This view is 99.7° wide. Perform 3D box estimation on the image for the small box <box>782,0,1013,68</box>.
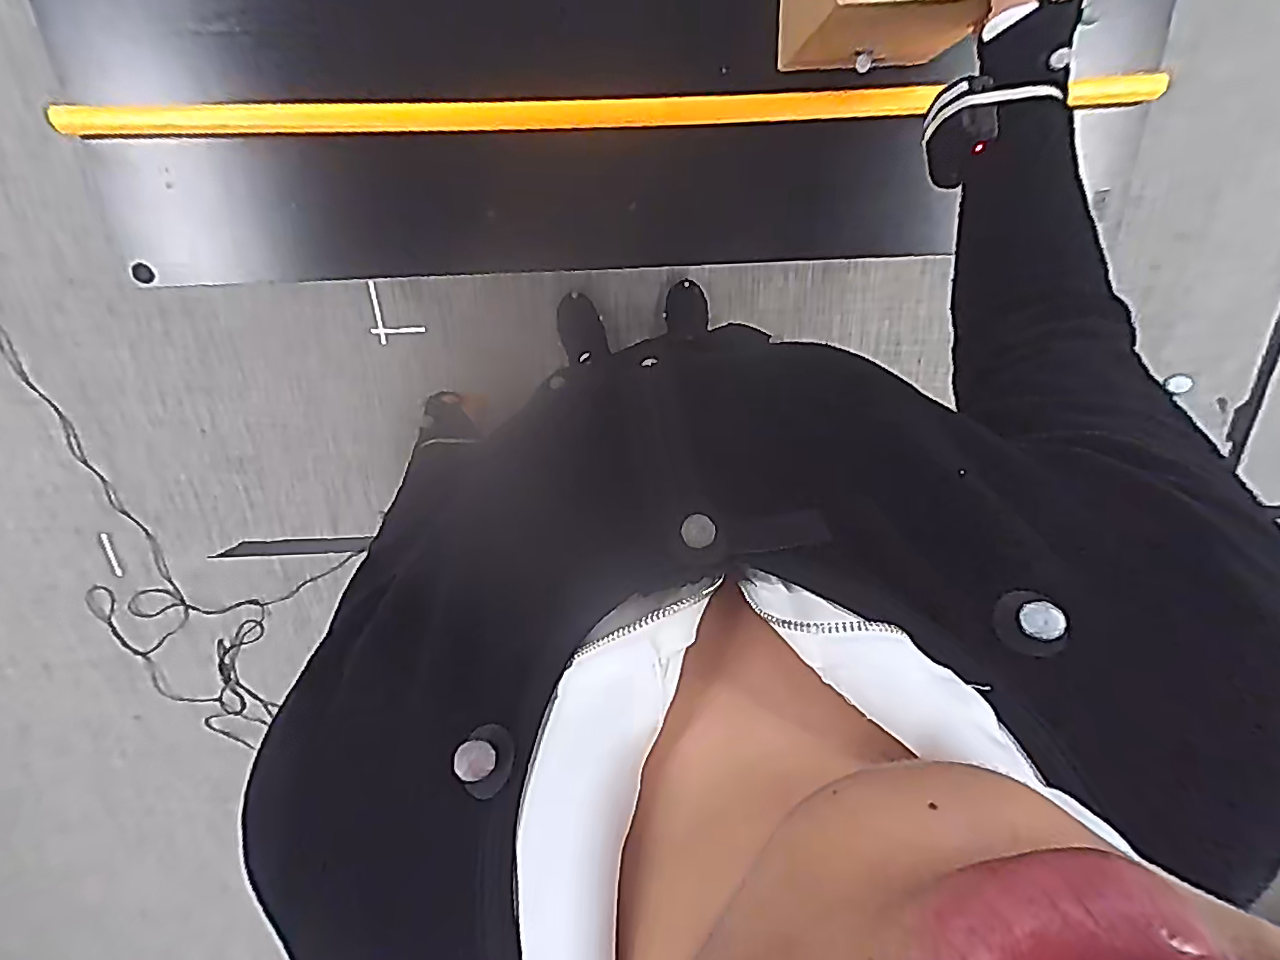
[{"bbox_3d":[0.237,-0.515,0.498,0.168,0.176,0.179,-3,112,-1],"label":"small box"}]
